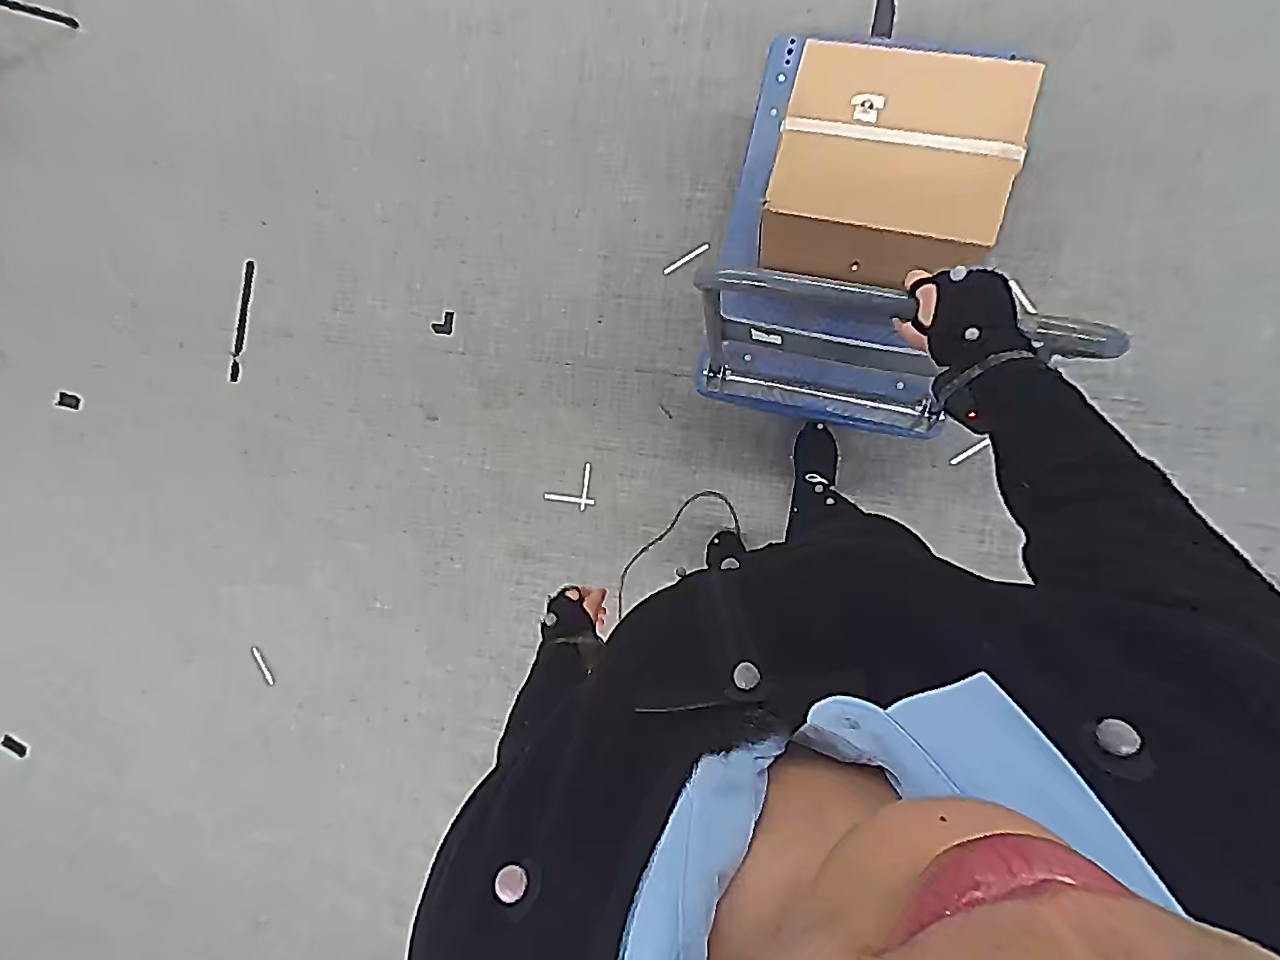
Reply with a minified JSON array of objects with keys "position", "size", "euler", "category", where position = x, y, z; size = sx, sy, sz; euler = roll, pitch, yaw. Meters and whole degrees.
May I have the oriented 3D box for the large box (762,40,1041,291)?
[{"position":[0.481,-0.604,1.090],"size":[0.408,0.320,0.320],"euler":[14,93,12],"category":"large box"}]
